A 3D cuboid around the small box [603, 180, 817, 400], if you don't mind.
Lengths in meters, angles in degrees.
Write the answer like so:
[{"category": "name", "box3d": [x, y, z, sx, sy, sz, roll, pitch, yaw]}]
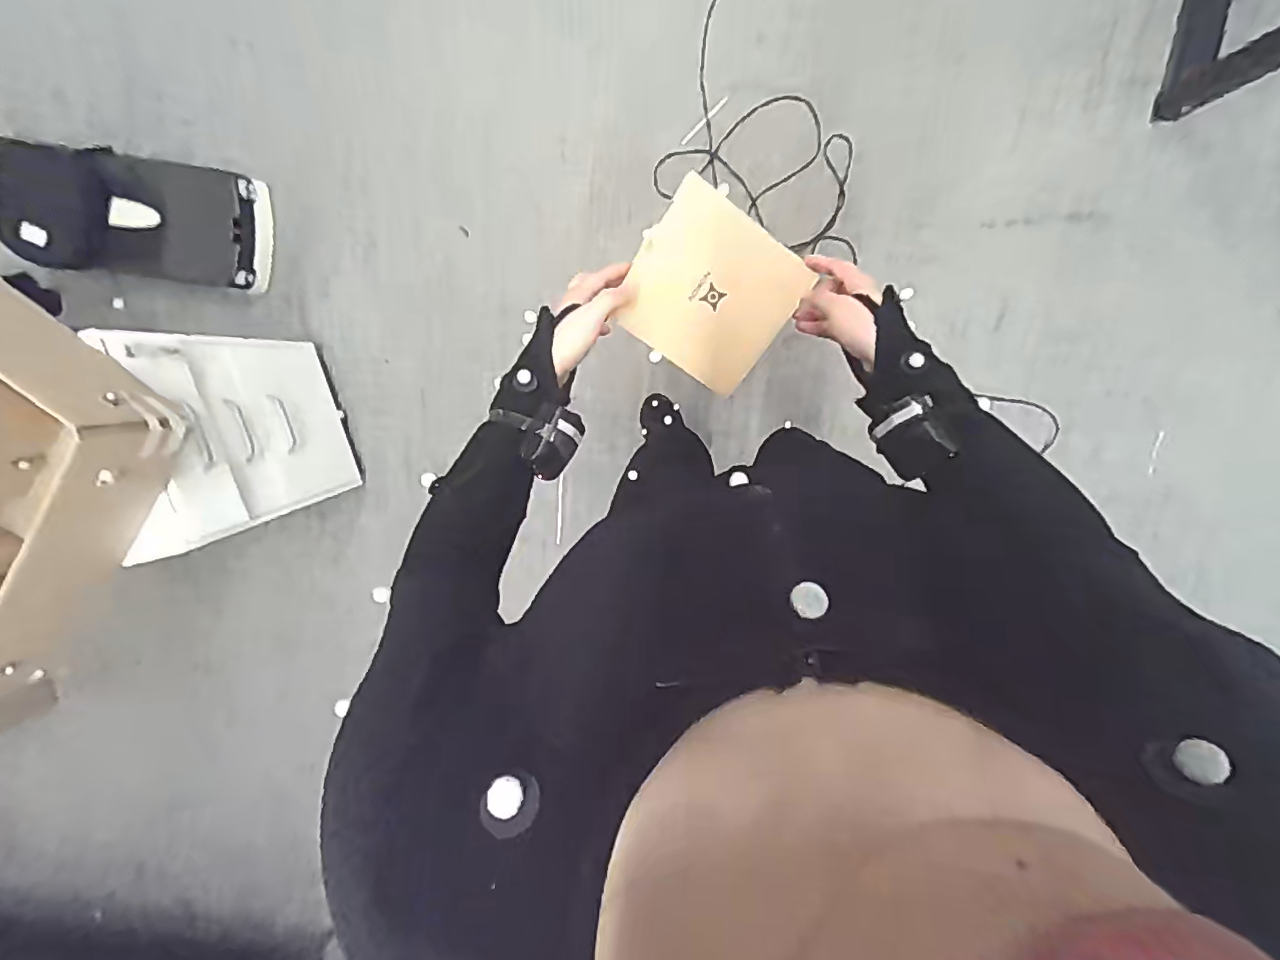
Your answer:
[{"category": "small box", "box3d": [0.078, -0.228, 0.657, 0.179, 0.176, 0.168, 33, 109, -9]}]
